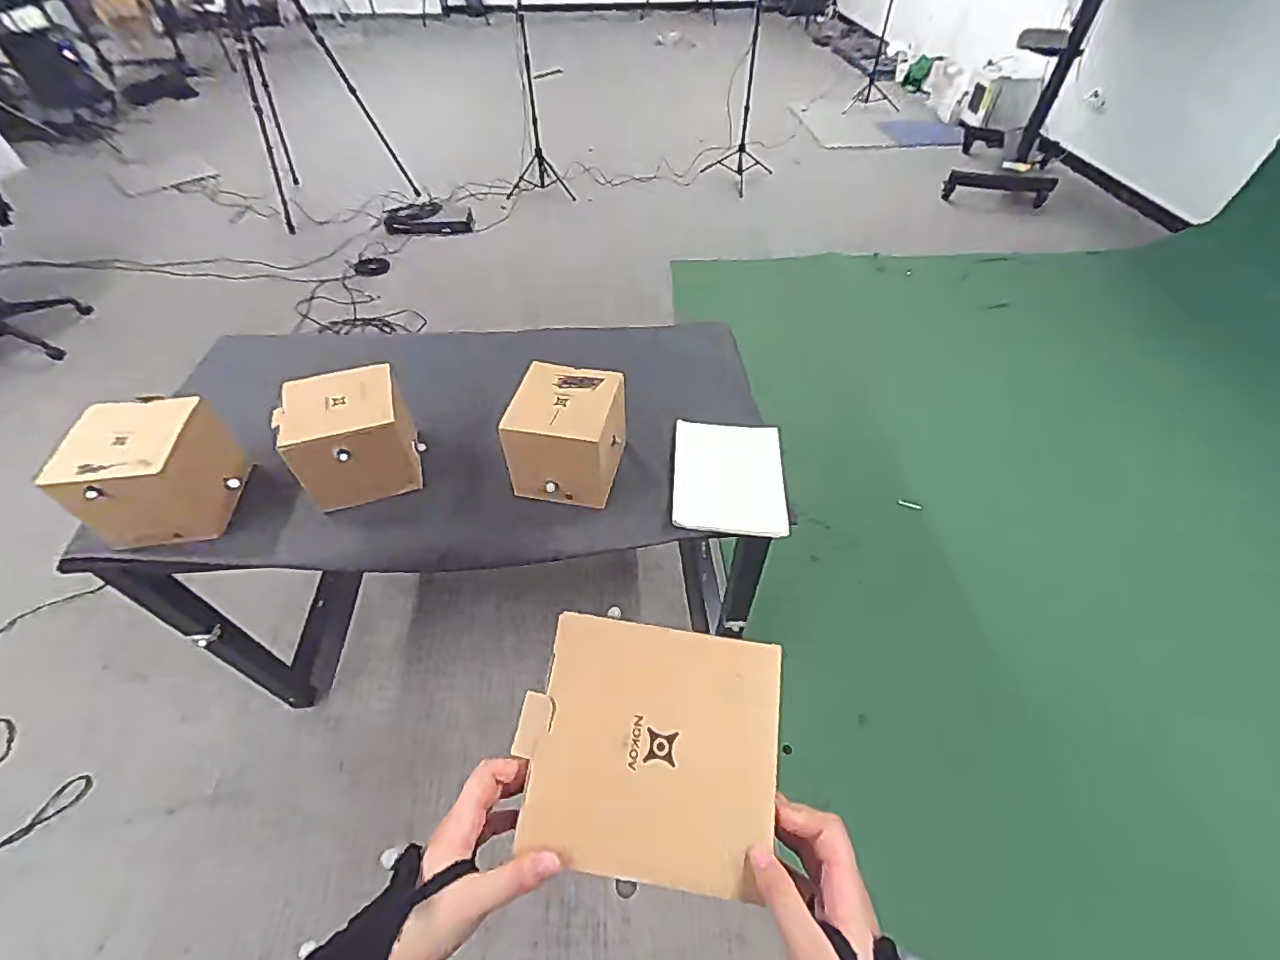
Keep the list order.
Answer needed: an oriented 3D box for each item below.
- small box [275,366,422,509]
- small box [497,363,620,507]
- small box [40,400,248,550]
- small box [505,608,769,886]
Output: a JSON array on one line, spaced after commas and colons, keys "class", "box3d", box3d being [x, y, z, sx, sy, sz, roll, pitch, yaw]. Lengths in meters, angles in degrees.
[{"class": "small box", "box3d": [-0.505, -0.072, 0.955, 0.179, 0.176, 0.168, -15, 51, -14]}, {"class": "small box", "box3d": [-0.132, -0.079, 0.954, 0.168, 0.176, 0.179, 8, 50, 8]}, {"class": "small box", "box3d": [-0.795, -0.008, 0.897, 0.168, 0.176, 0.179, -7, 50, -6]}, {"class": "small box", "box3d": [0.006, 0.218, 0.469, 0.179, 0.176, 0.168, 6, 66, 5]}]
